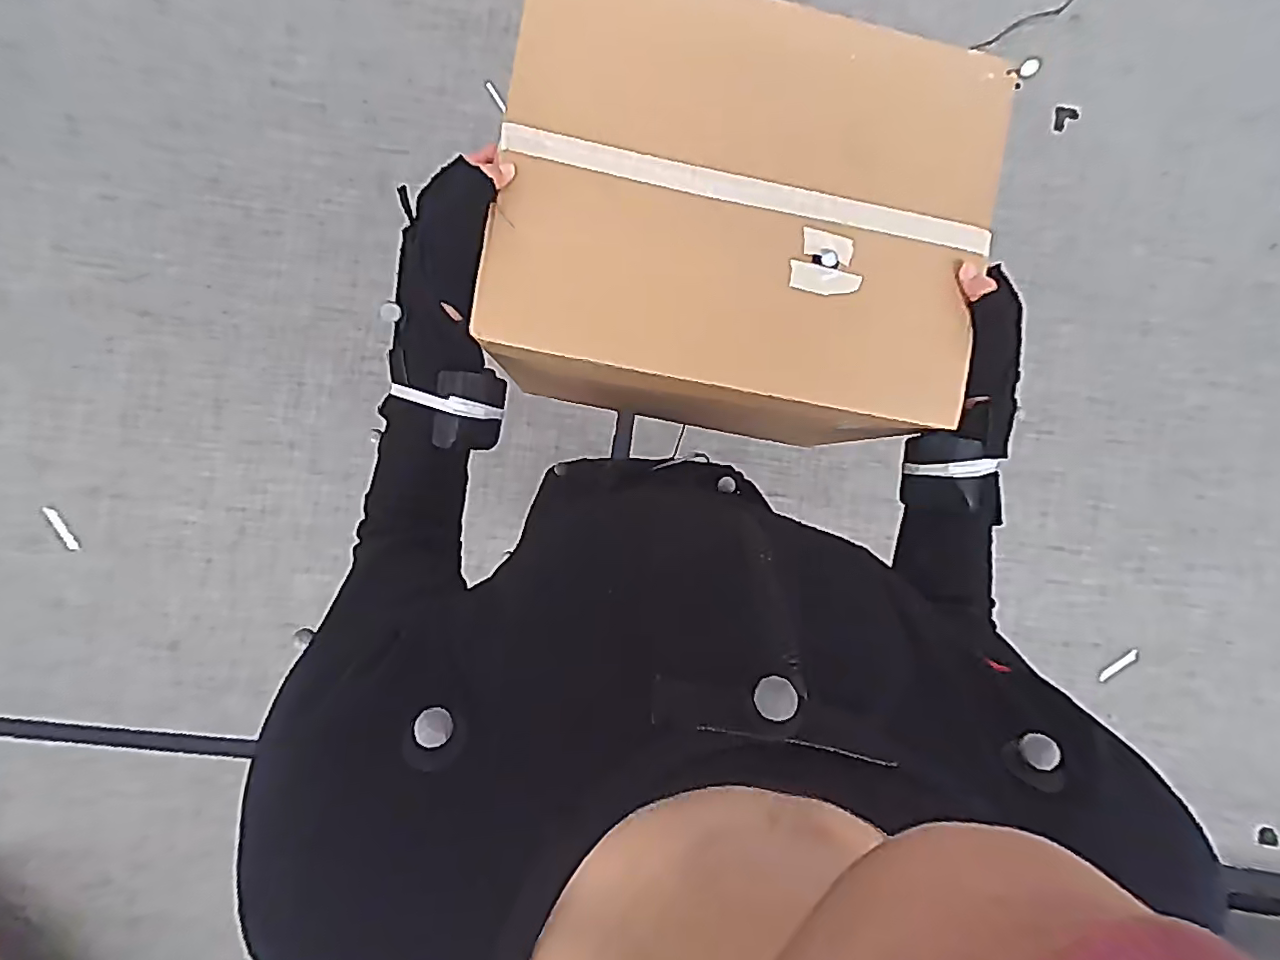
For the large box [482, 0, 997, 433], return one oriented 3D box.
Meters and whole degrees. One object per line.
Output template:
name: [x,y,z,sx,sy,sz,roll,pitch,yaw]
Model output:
large box: [0.074,-0.242,0.593,0.408,0.320,0.320,10,91,-6]
